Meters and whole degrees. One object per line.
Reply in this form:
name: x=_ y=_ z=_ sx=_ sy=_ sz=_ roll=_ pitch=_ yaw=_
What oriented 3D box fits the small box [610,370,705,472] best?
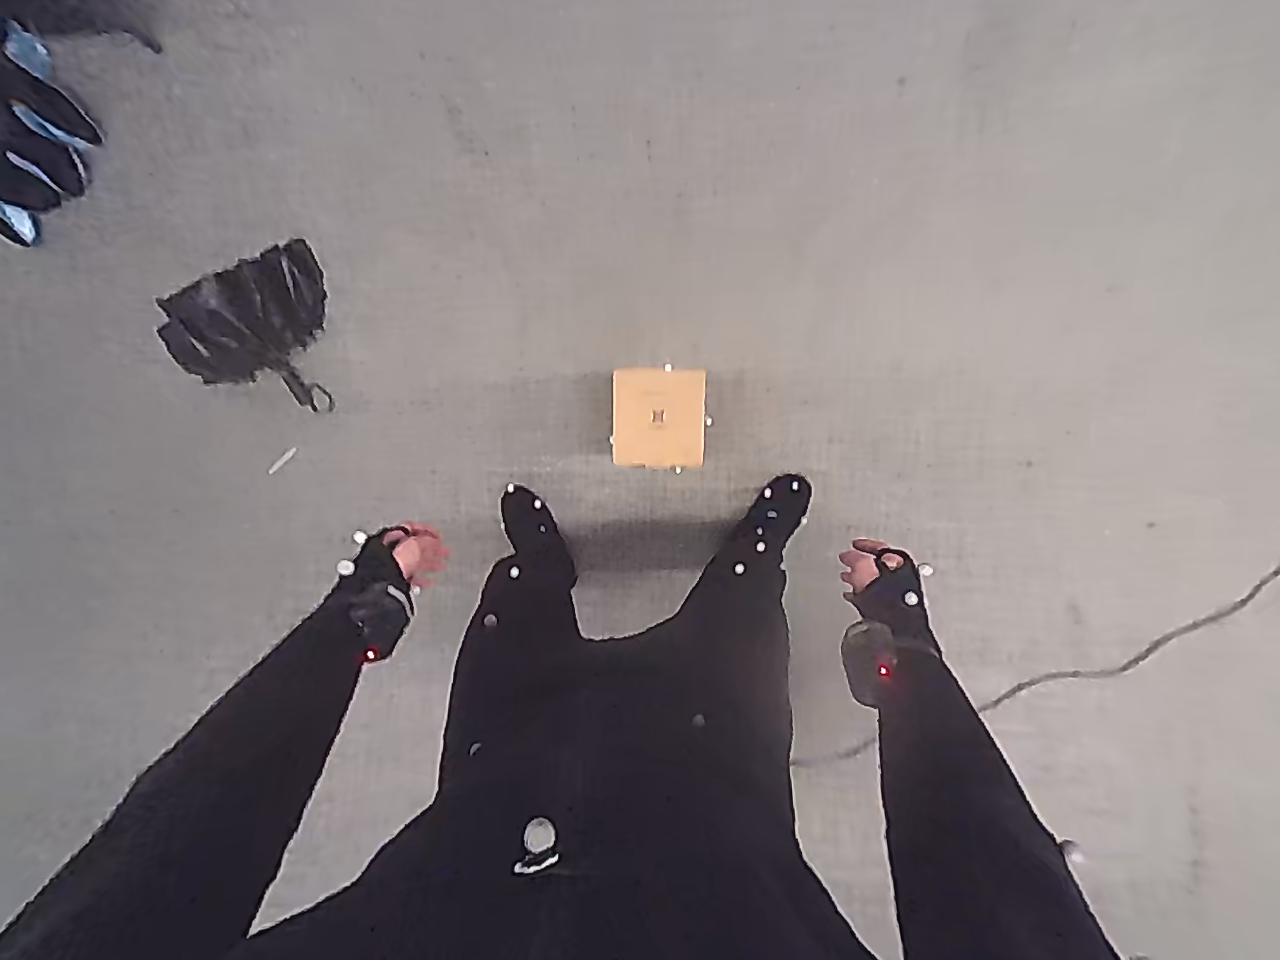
small box: x=0.036 y=-0.112 z=1.015 sx=0.168 sy=0.176 sz=0.179 roll=0 pitch=97 yaw=4
